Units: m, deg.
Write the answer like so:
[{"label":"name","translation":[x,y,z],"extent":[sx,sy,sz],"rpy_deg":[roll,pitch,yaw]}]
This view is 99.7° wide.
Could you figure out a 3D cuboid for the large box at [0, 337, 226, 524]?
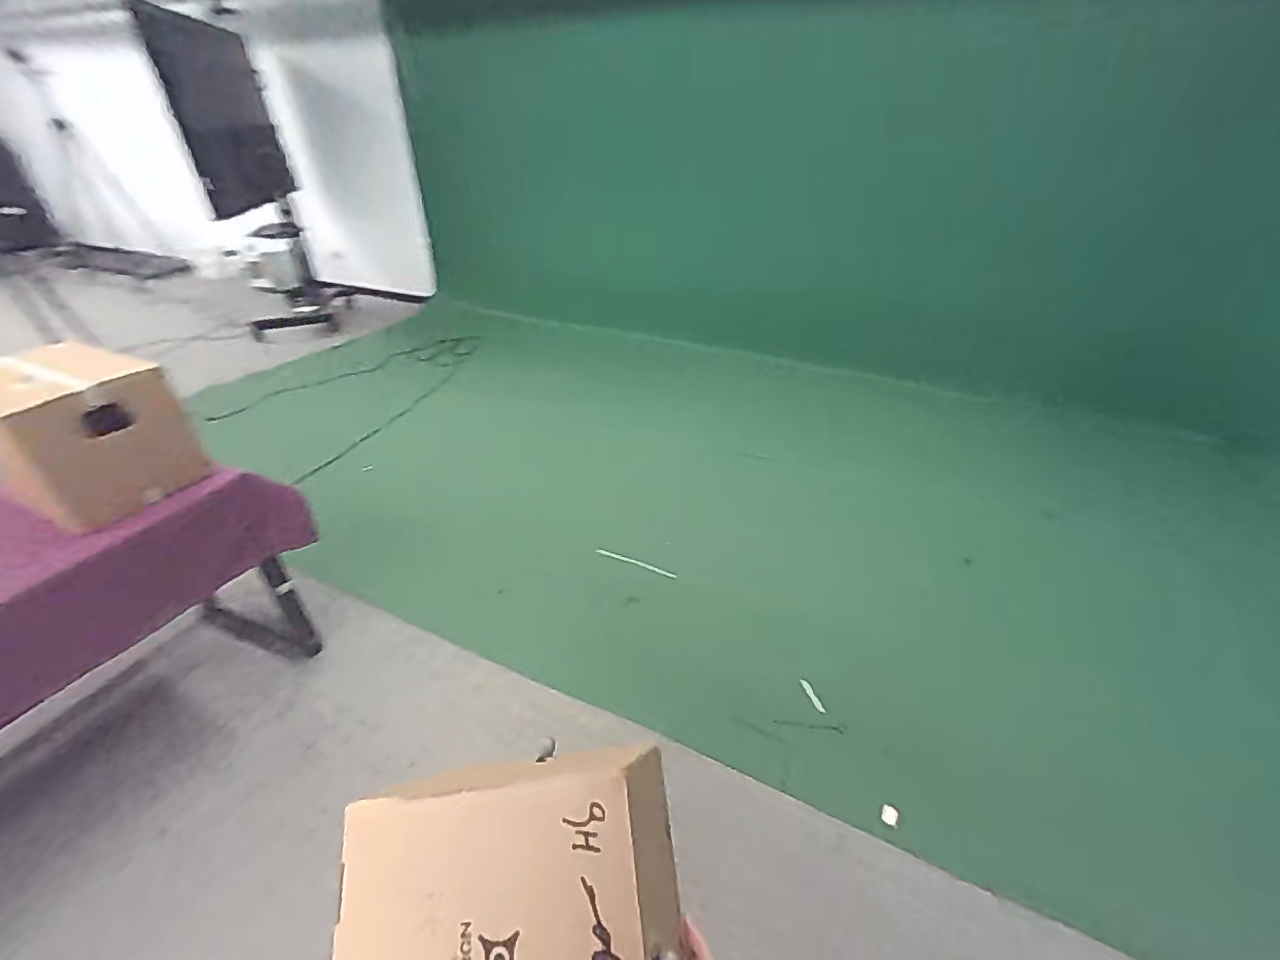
[{"label":"large box","translation":[-1.375,-0.138,1.366],"extent":[0.408,0.320,0.320],"rpy_deg":[17,37,20]}]
